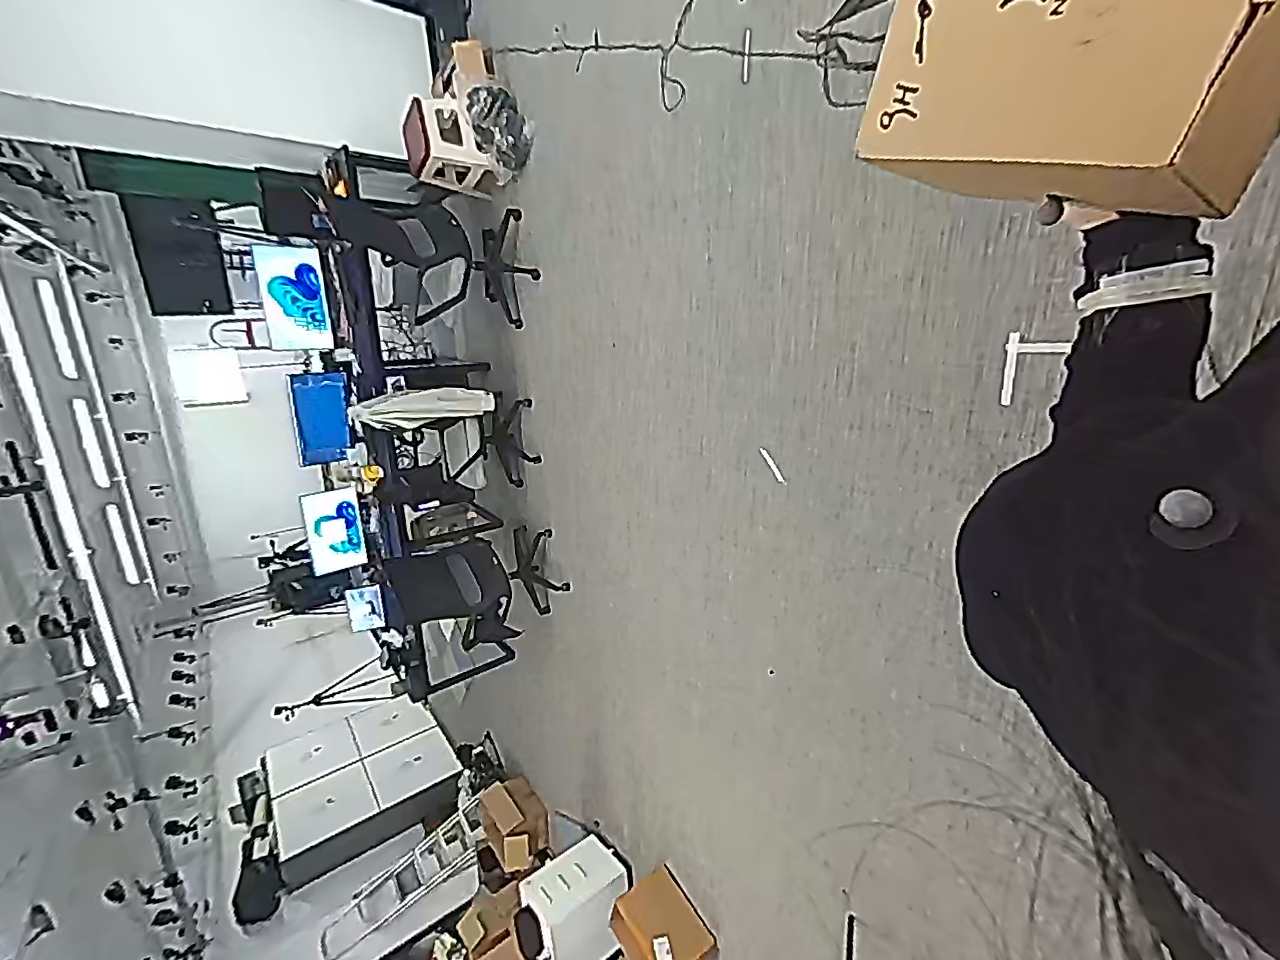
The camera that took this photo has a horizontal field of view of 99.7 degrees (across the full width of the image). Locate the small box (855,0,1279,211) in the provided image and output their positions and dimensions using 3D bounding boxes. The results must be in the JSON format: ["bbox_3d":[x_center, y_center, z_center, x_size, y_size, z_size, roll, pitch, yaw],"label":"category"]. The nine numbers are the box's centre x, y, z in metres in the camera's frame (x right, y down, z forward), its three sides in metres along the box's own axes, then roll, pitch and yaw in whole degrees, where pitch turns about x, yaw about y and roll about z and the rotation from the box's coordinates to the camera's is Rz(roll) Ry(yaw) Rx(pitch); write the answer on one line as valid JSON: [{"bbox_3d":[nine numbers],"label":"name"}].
[{"bbox_3d":[0.270,-0.264,0.316,0.179,0.176,0.168,37,126,43],"label":"small box"}]
